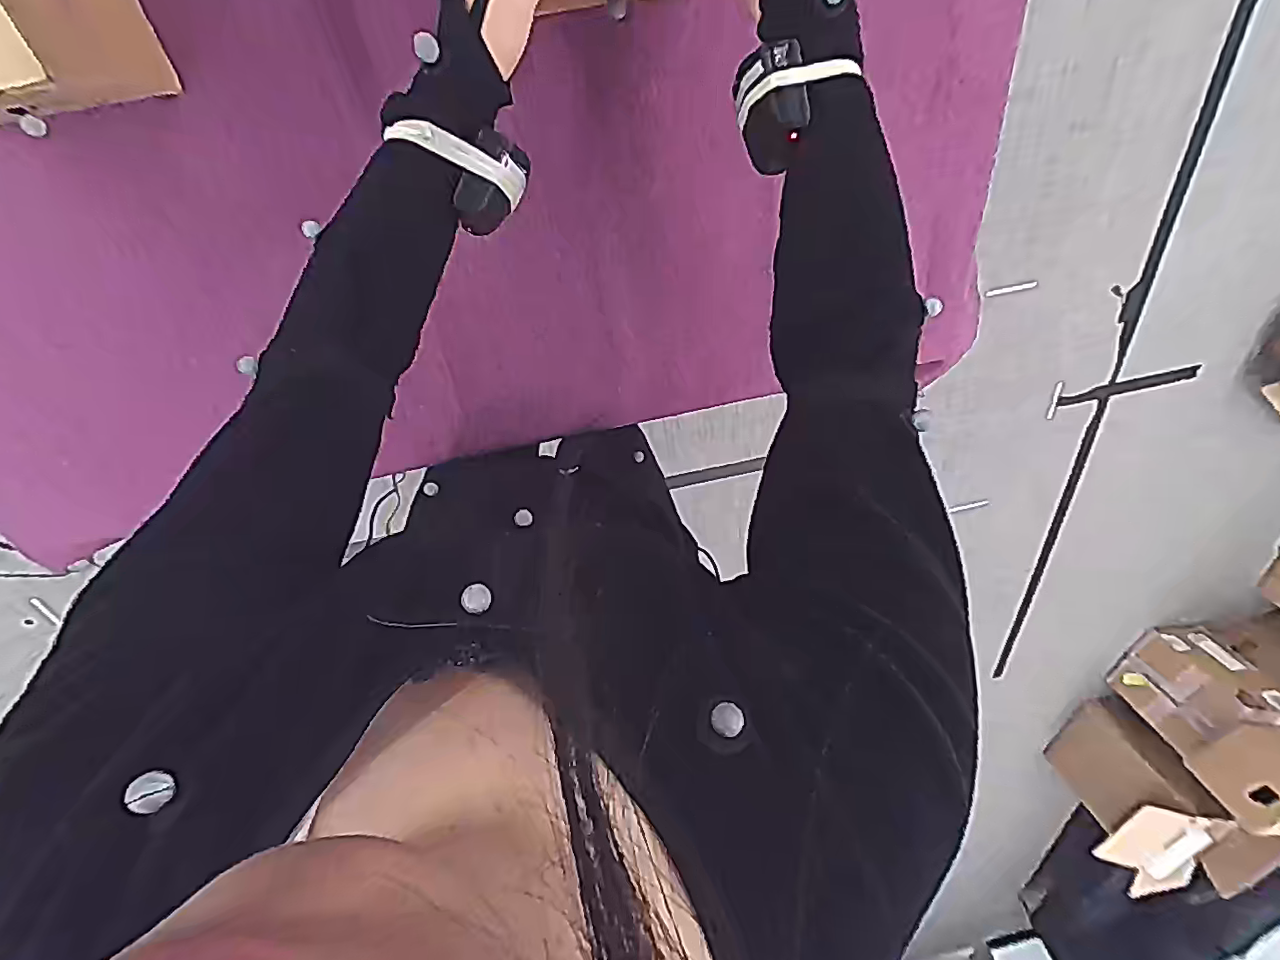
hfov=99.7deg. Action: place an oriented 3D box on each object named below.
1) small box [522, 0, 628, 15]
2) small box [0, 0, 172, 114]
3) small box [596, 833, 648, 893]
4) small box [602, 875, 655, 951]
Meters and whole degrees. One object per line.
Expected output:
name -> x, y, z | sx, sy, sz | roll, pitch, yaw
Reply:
small box -> -0.027, -0.449, 0.363 | 0.168, 0.176, 0.179 | -12, 126, -3
small box -> -0.461, -0.338, 0.339 | 0.168, 0.176, 0.179 | -13, 127, -4
small box -> -0.077, 1.582, 2.215 | 0.179, 0.176, 0.168 | -13, 123, -3
small box -> -0.044, 1.661, 2.077 | 0.168, 0.176, 0.179 | -13, 123, -4
